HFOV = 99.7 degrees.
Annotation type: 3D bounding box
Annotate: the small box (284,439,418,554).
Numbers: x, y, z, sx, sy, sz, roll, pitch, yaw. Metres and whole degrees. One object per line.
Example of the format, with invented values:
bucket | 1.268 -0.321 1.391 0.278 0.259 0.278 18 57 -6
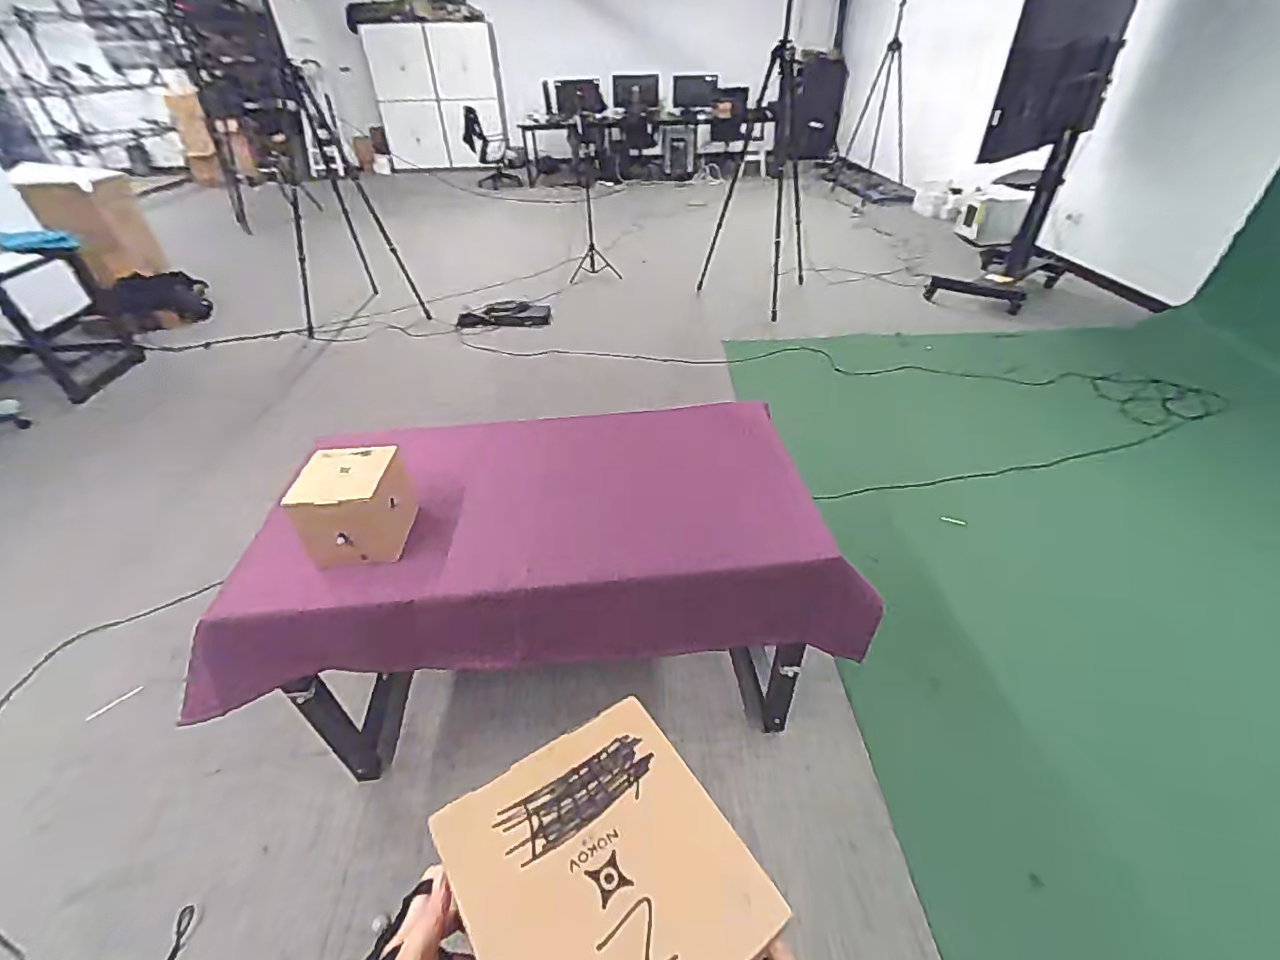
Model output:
small box | -0.569 0.037 1.097 0.168 0.176 0.179 -2 40 -2
